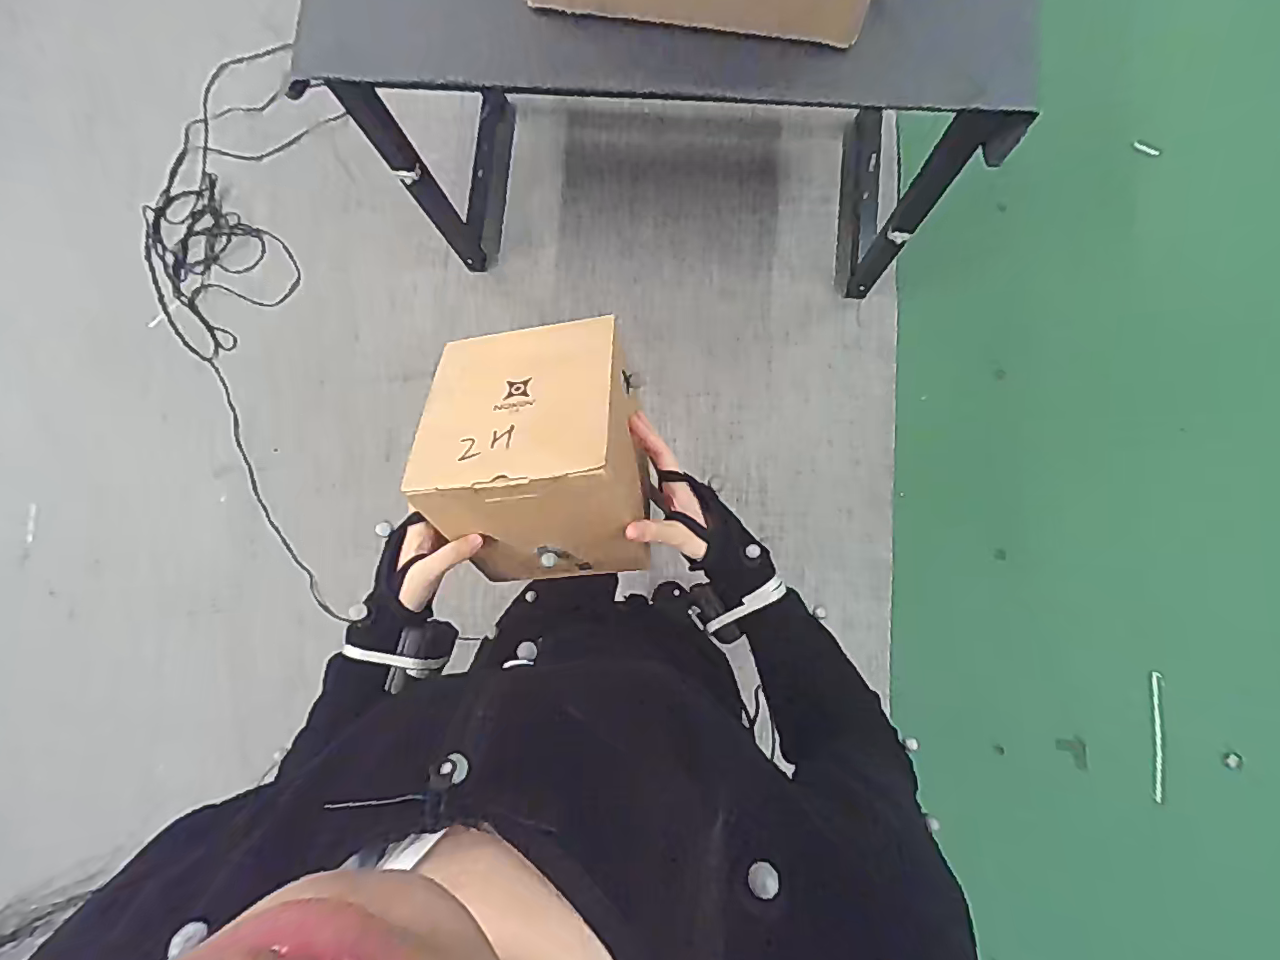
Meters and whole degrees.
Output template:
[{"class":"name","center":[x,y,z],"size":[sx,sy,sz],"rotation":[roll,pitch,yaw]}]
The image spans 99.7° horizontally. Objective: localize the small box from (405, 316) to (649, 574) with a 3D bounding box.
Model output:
[{"class":"small box","center":[-0.087,-0.026,0.520],"size":[0.168,0.176,0.179],"rotation":[-6,55,10]}]
